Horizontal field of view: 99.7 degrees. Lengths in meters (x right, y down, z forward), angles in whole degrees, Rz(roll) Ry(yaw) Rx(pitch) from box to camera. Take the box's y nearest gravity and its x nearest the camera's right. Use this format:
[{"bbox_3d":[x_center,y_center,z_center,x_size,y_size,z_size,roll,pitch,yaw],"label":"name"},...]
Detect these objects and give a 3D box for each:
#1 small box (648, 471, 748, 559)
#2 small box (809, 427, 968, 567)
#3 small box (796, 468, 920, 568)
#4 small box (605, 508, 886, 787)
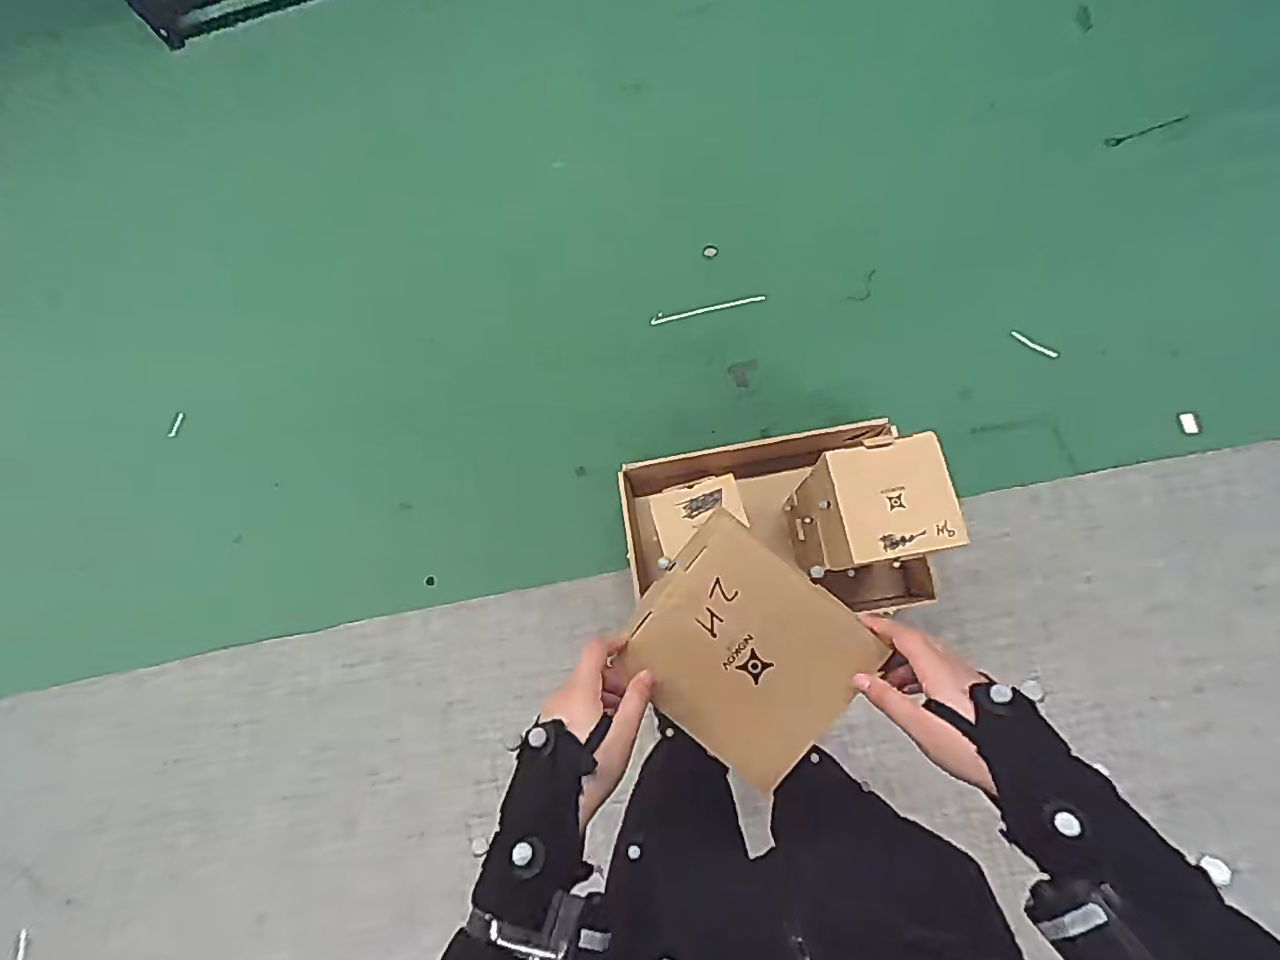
[{"bbox_3d":[0.120,0.102,1.054,0.168,0.176,0.179,-16,78,2],"label":"small box"},{"bbox_3d":[0.381,0.035,0.867,0.168,0.176,0.179,-12,76,6],"label":"small box"},{"bbox_3d":[0.402,0.069,1.027,0.168,0.176,0.179,-9,78,6],"label":"small box"},{"bbox_3d":[0.093,0.140,0.529,0.179,0.176,0.168,39,94,4],"label":"small box"}]
